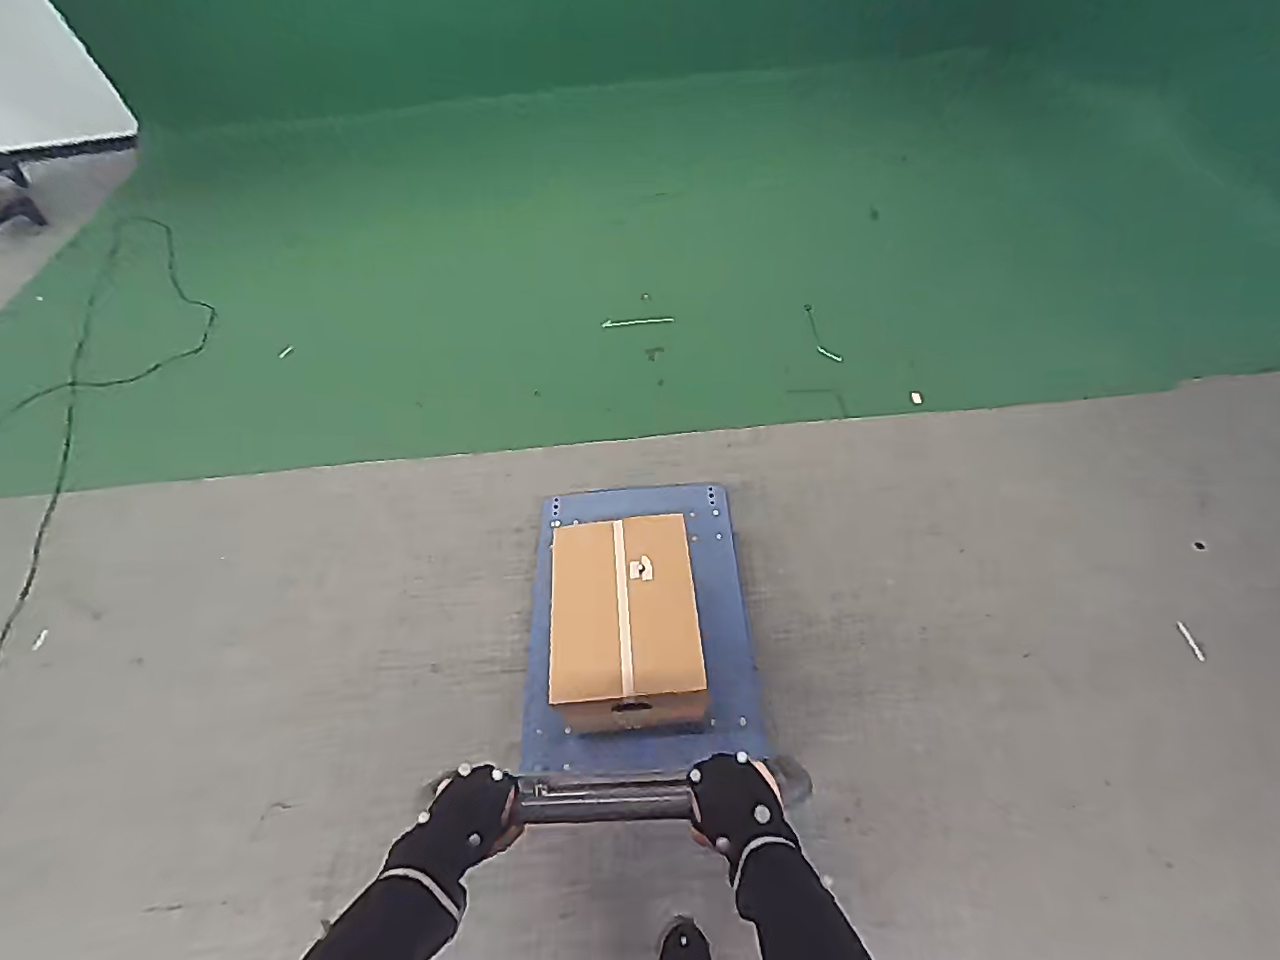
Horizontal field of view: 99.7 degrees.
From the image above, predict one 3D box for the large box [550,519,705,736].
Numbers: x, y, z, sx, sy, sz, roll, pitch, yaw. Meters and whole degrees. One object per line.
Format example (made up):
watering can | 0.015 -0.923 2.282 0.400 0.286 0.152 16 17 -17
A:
large box | -0.027 0.356 1.295 0.320 0.320 0.408 -6 55 1
